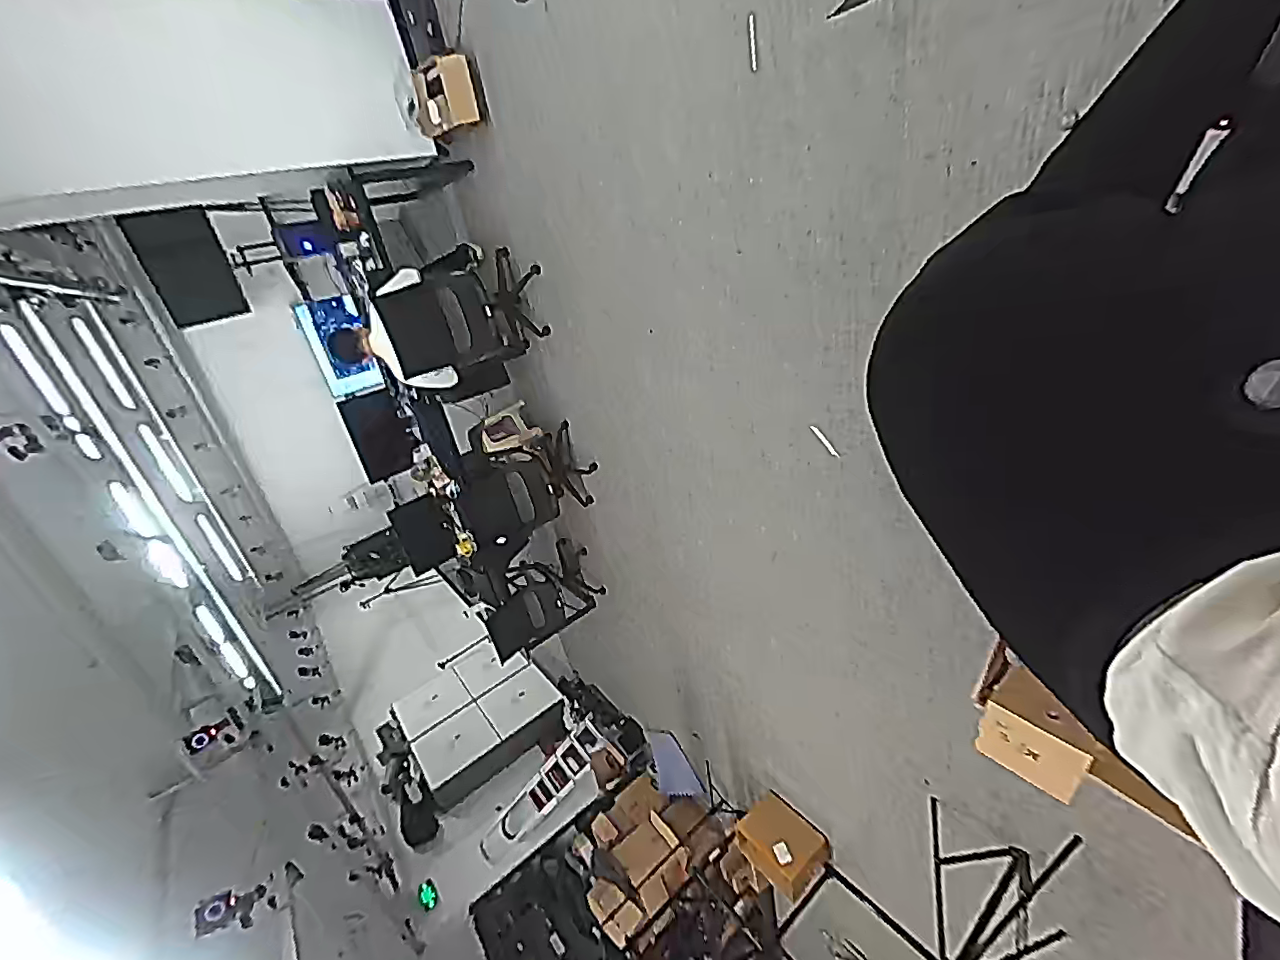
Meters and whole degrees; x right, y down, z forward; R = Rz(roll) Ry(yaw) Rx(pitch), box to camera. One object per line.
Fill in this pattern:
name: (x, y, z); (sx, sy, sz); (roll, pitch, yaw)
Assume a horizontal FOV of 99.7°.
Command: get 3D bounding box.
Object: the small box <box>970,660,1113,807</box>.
small box: (0.819, 0.507, 1.106); (0.179, 0.176, 0.168); (28, 137, 45)
